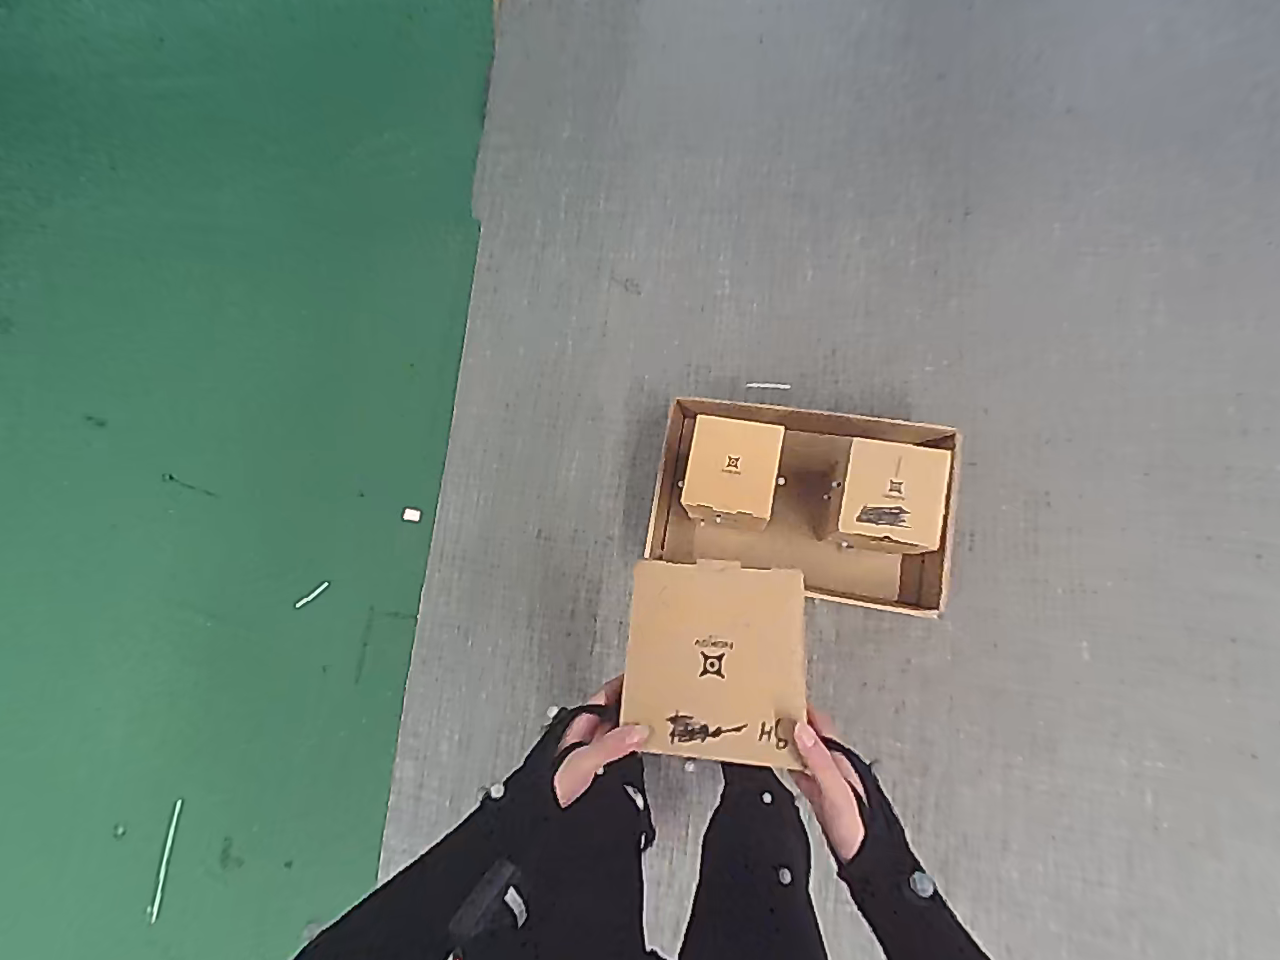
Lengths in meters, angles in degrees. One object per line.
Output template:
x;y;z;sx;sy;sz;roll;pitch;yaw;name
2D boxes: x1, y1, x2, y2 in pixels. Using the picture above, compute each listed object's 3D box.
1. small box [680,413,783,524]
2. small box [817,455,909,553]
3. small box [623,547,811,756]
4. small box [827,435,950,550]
0.181;-0.017;1.074;0.168;0.176;0.179;10;82;11;small box
0.486;0.057;1.173;0.168;0.176;0.179;9;83;13;small box
0.083;0.183;0.573;0.168;0.176;0.179;2;66;10;small box
0.454;0.031;1.014;0.168;0.176;0.179;11;82;13;small box
